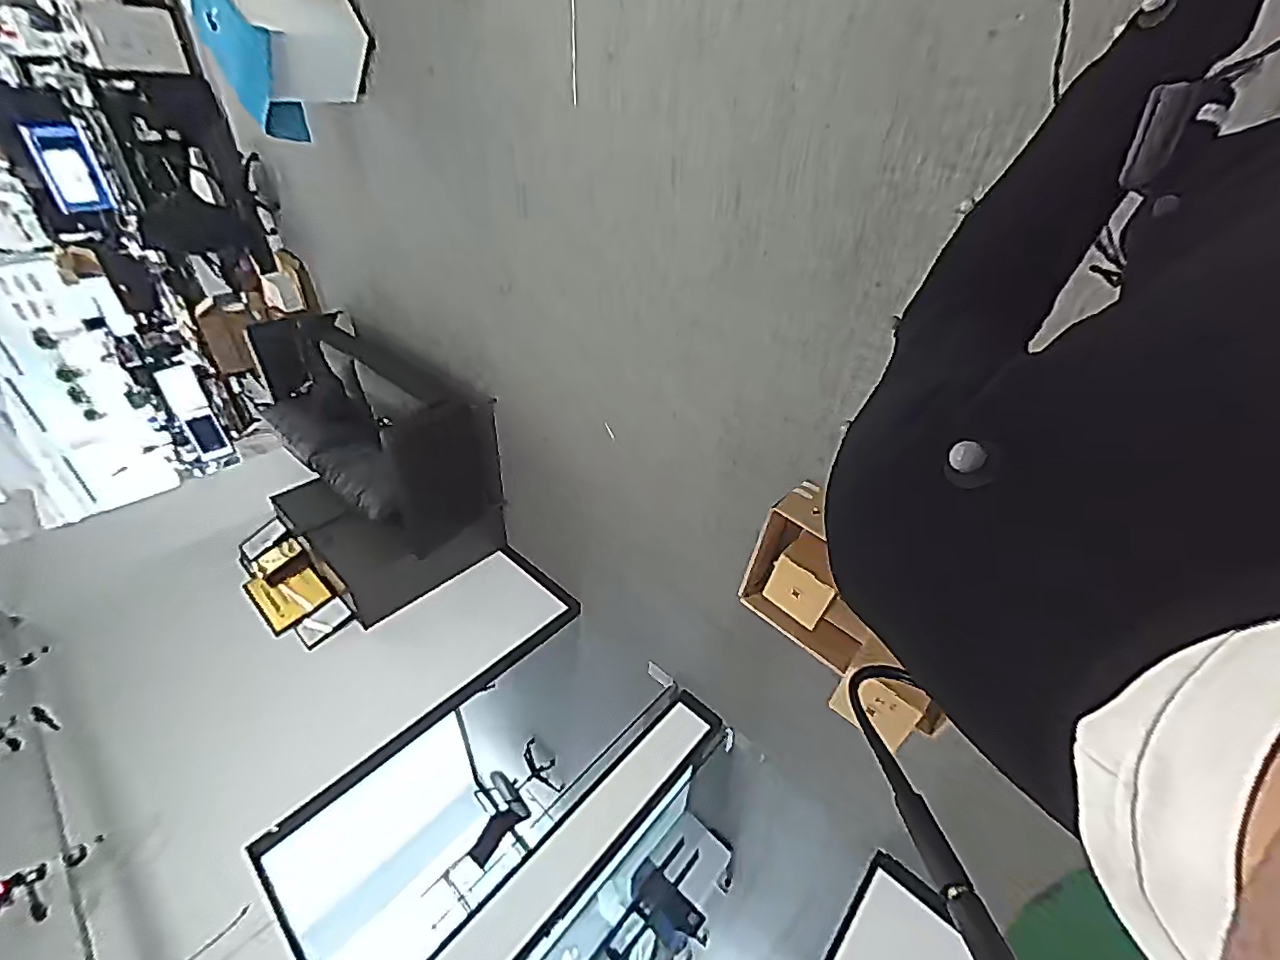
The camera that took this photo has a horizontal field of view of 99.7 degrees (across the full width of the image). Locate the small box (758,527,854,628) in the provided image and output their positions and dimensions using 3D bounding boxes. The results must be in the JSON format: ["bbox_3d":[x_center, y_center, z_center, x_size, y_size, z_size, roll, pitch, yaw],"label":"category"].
[{"bbox_3d":[0.460,0.266,1.493,0.168,0.176,0.179,36,136,27],"label":"small box"}]

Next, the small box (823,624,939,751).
[{"bbox_3d":[0.559,0.475,1.253,0.168,0.176,0.179,32,135,29],"label":"small box"}]
